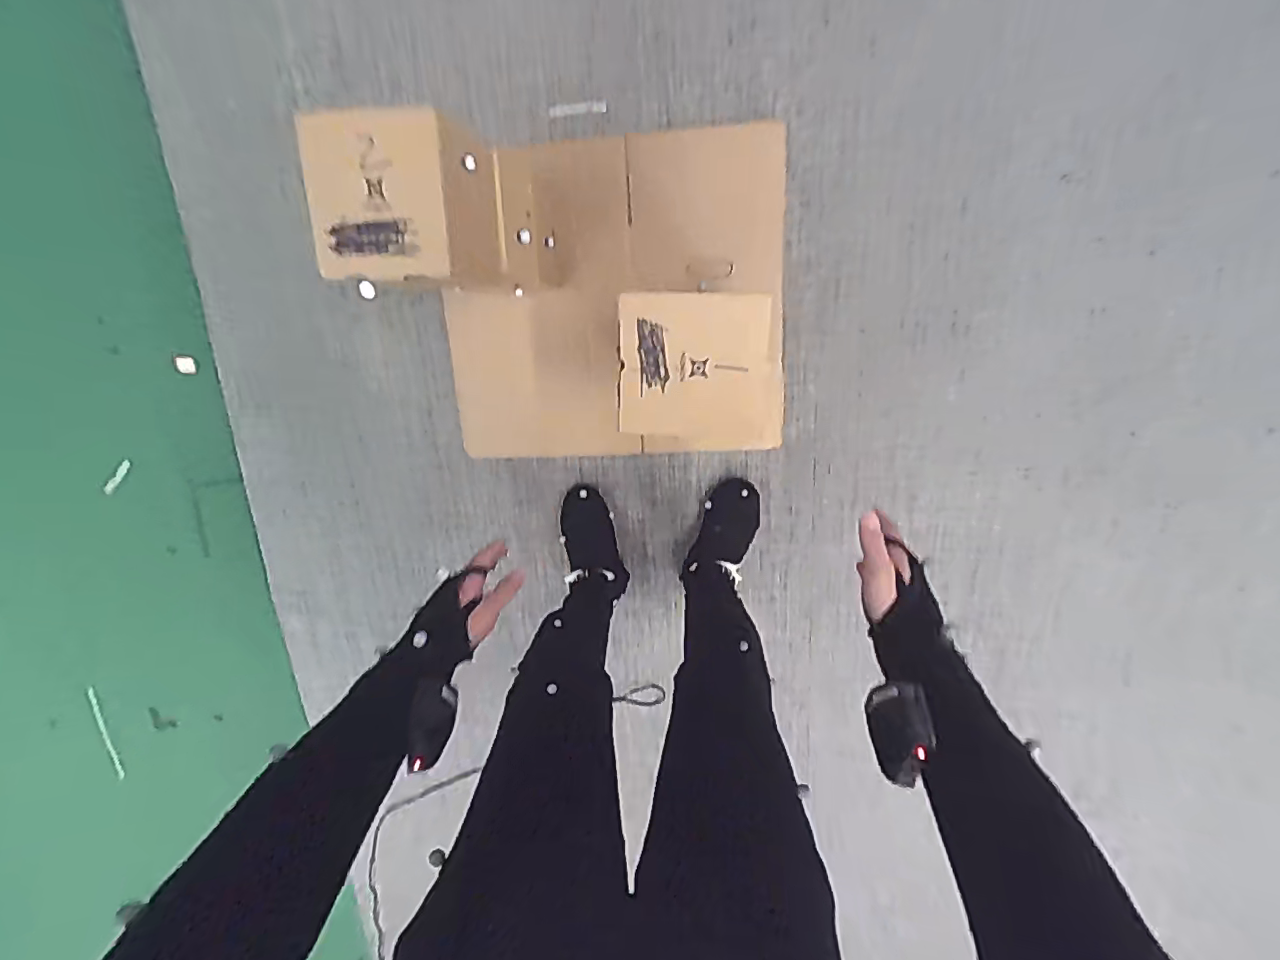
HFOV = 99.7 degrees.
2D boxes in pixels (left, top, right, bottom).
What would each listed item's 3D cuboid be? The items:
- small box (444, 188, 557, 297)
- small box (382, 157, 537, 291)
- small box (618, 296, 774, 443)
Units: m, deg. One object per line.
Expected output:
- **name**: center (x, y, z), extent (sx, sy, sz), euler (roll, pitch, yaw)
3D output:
- **small box**: center (-0.256, -0.432, 1.003), extent (0.179, 0.176, 0.168), euler (0, 105, 7)
- **small box**: center (-0.267, -0.389, 0.847), extent (0.179, 0.176, 0.168), euler (0, 106, 7)
- **small box**: center (0.071, -0.149, 0.706), extent (0.179, 0.176, 0.168), euler (3, 107, 6)
